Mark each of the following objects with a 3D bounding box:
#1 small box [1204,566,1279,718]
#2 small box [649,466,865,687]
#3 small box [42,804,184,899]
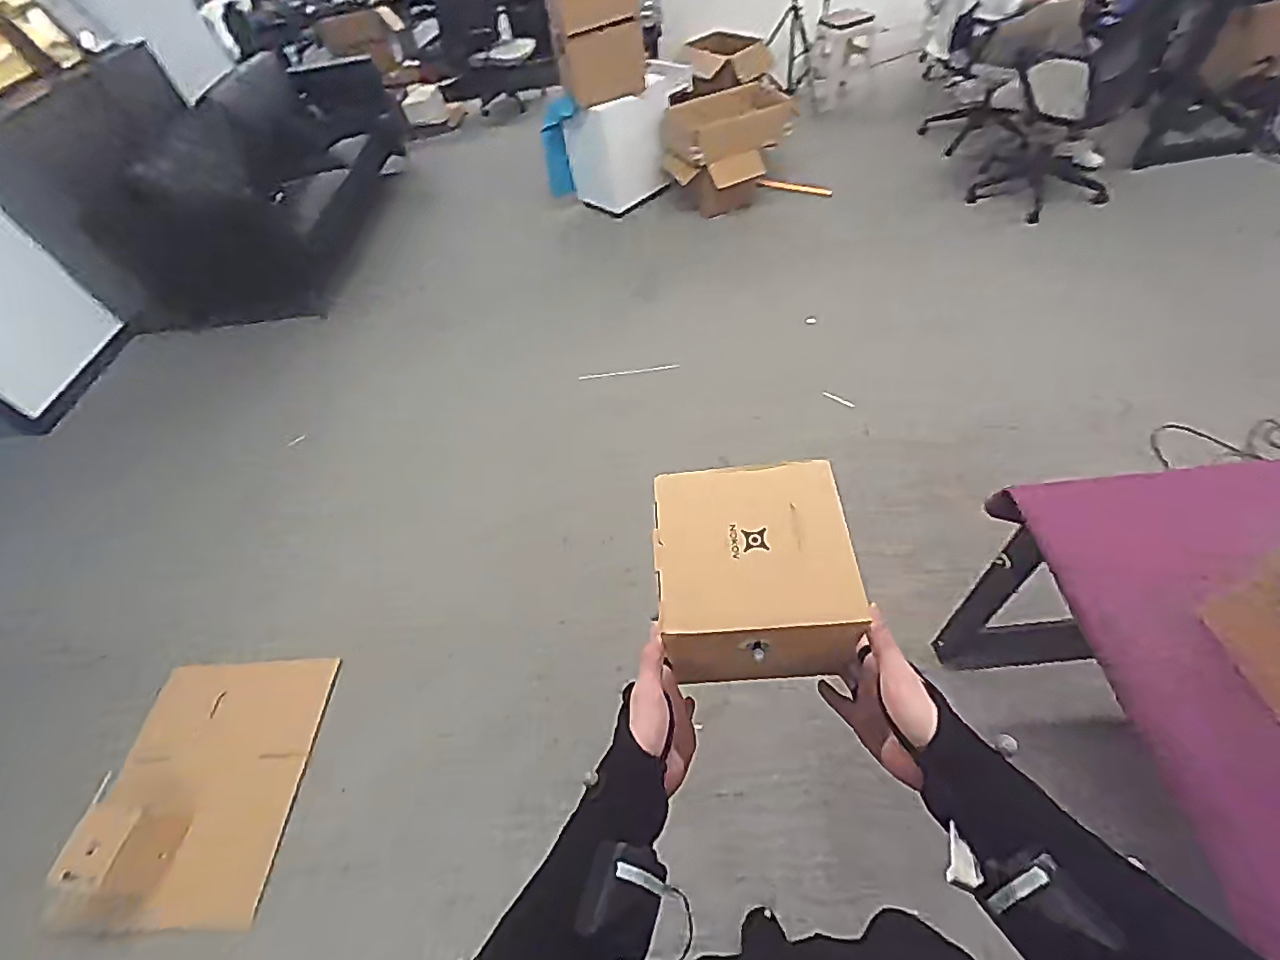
[{"bbox_3d":[0.934,0.219,0.712,0.168,0.176,0.179,-8,50,4],"label":"small box"},{"bbox_3d":[0.108,0.106,0.555,0.179,0.176,0.168,-5,55,5],"label":"small box"},{"bbox_3d":[-1.360,0.974,1.416,0.168,0.176,0.179,2,52,11],"label":"small box"}]
